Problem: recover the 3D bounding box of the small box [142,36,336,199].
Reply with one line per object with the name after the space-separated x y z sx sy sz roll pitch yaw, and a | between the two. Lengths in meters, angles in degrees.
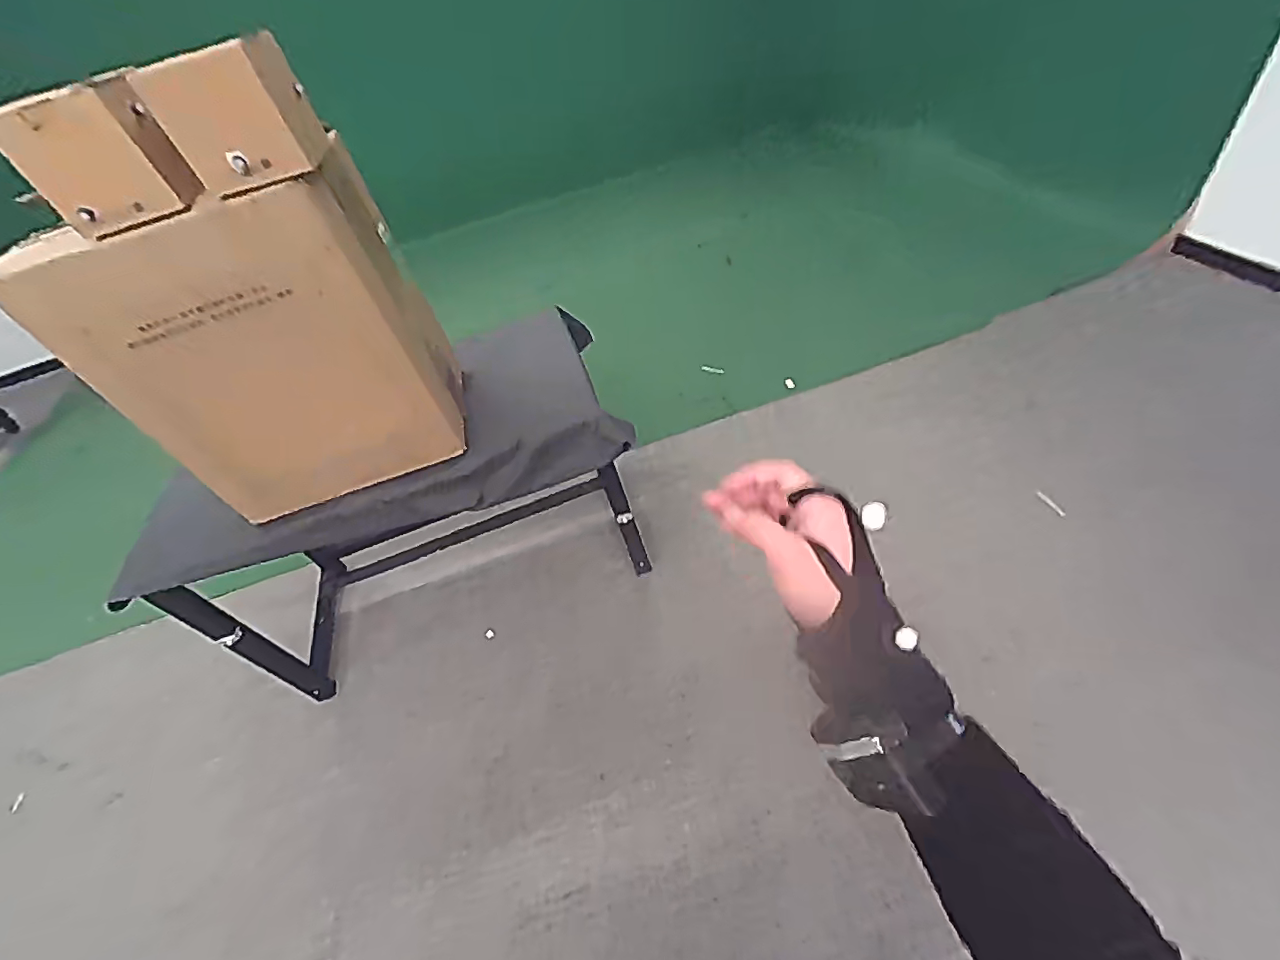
-0.624 -0.582 0.873 0.168 0.176 0.179 -19 47 -1 | small box
